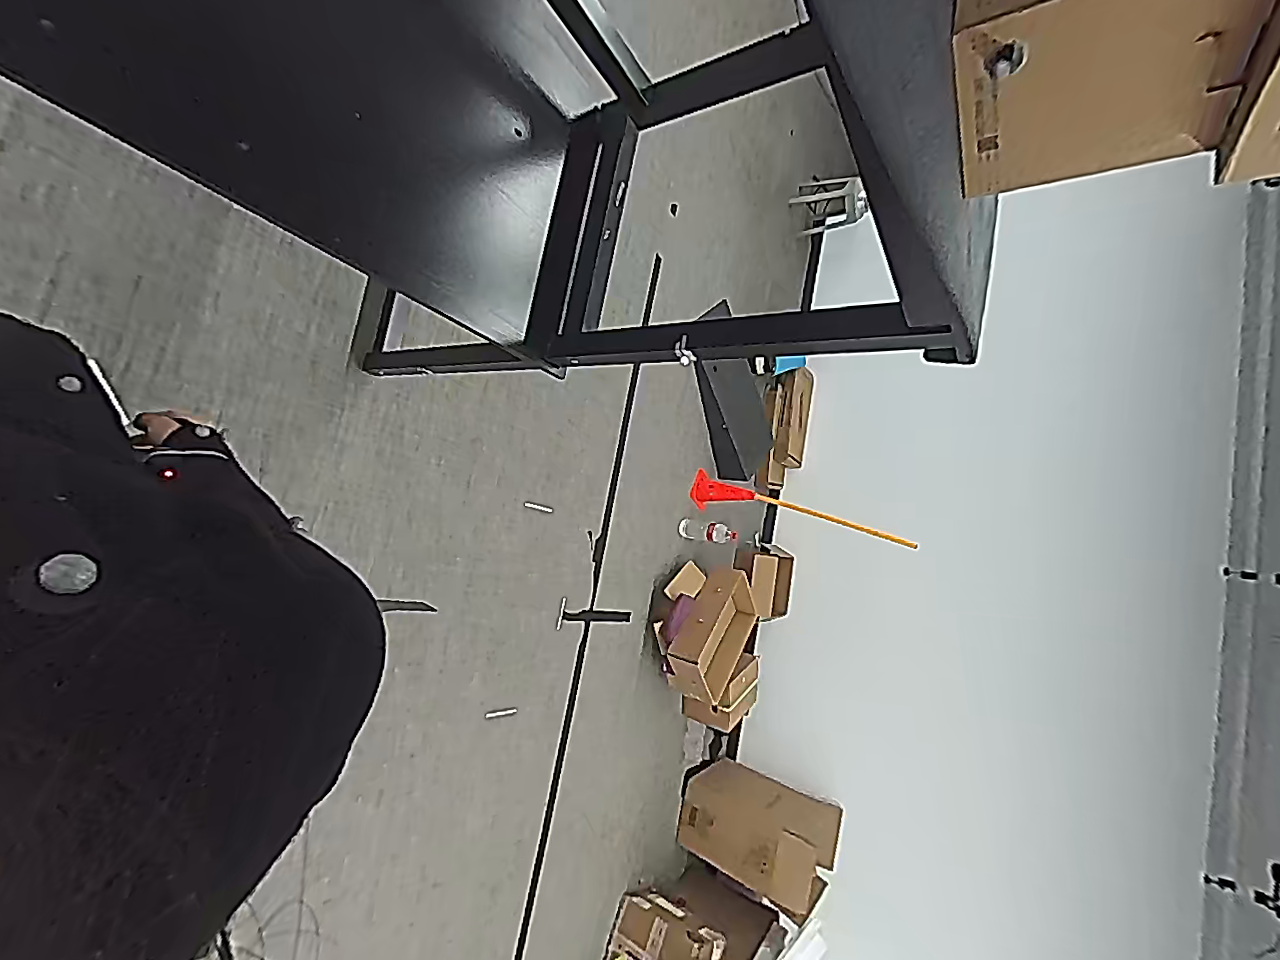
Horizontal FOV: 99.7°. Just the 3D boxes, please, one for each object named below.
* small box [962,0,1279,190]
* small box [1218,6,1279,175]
[{"bbox_3d":[0.345,-0.357,0.406,0.168,0.176,0.179,28,70,-53],"label":"small box"},{"bbox_3d":[0.472,-0.315,0.310,0.168,0.176,0.179,18,79,-56],"label":"small box"}]
